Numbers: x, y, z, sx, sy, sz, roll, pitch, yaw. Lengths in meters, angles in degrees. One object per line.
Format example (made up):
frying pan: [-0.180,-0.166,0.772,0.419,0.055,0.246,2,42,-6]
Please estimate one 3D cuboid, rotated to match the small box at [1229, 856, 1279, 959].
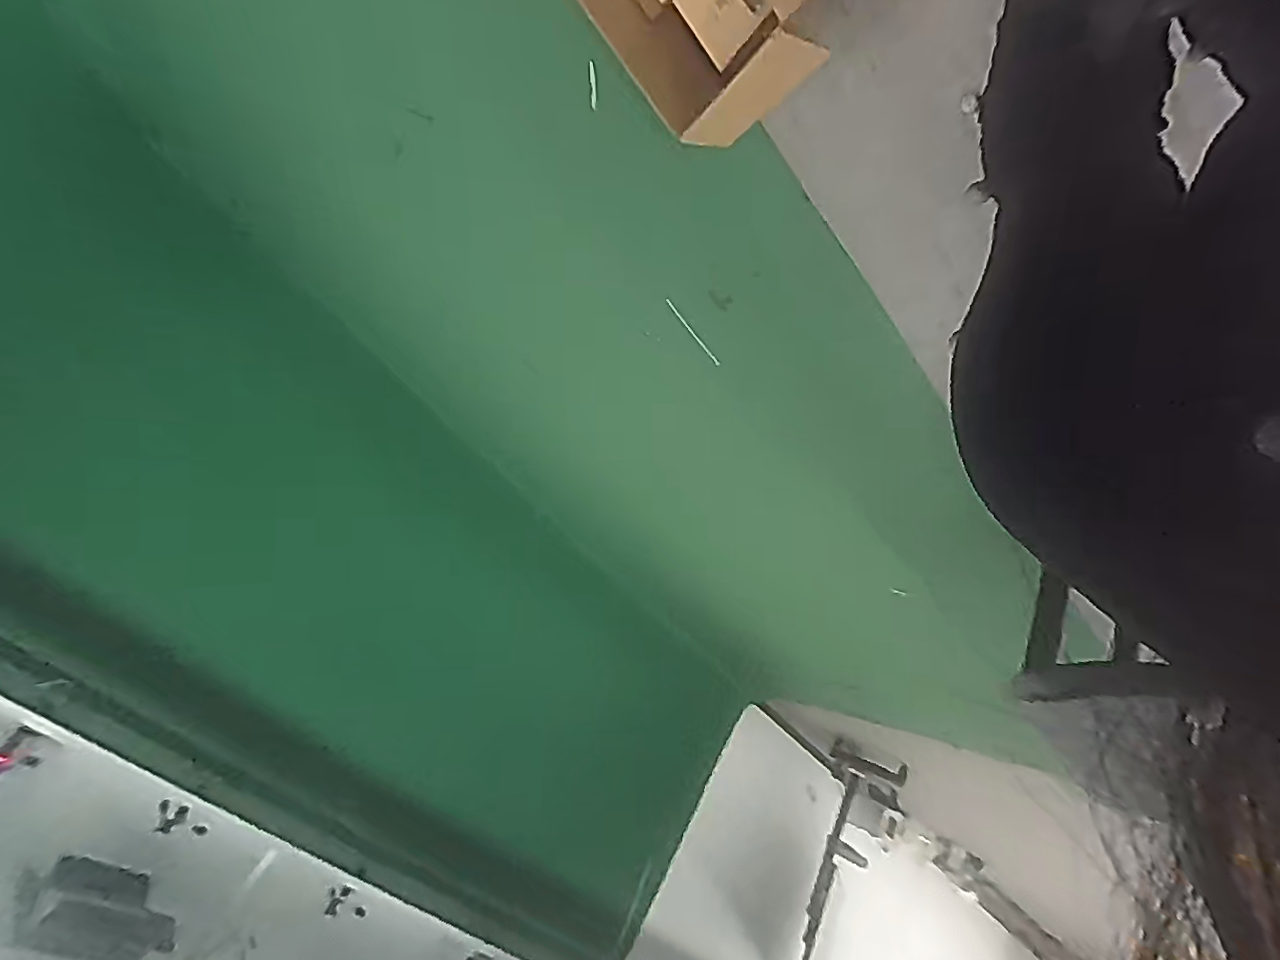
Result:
small box: [1.200,0.816,0.964,0.168,0.176,0.179,43,152,-17]
